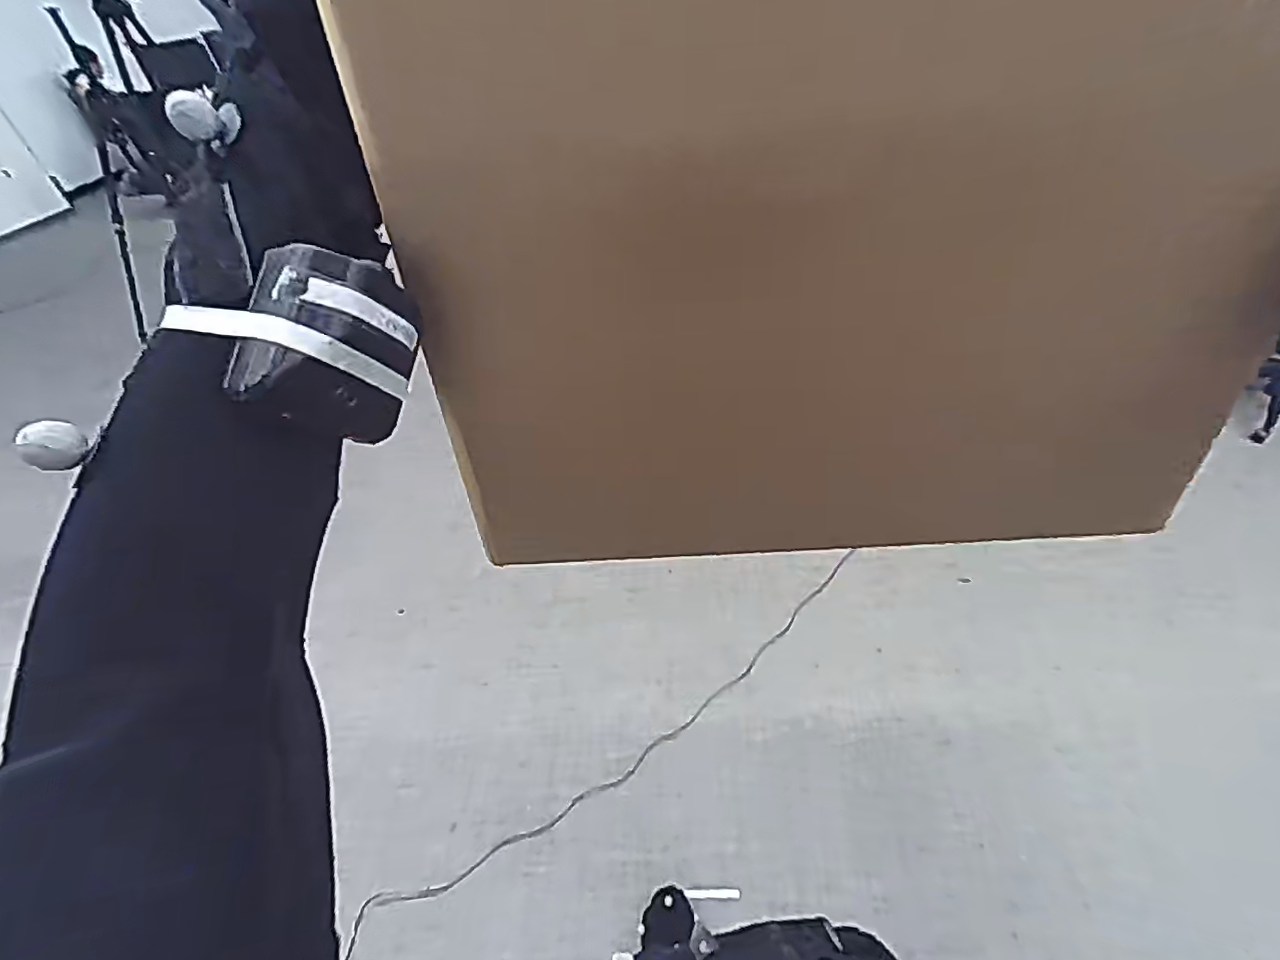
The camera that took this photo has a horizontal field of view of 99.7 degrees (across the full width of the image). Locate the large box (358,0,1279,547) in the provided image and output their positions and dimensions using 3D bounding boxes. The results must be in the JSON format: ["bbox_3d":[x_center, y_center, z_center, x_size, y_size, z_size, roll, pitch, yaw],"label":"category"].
[{"bbox_3d":[0.094,-0.174,0.379,0.408,0.320,0.320,-3,34,1],"label":"large box"}]
